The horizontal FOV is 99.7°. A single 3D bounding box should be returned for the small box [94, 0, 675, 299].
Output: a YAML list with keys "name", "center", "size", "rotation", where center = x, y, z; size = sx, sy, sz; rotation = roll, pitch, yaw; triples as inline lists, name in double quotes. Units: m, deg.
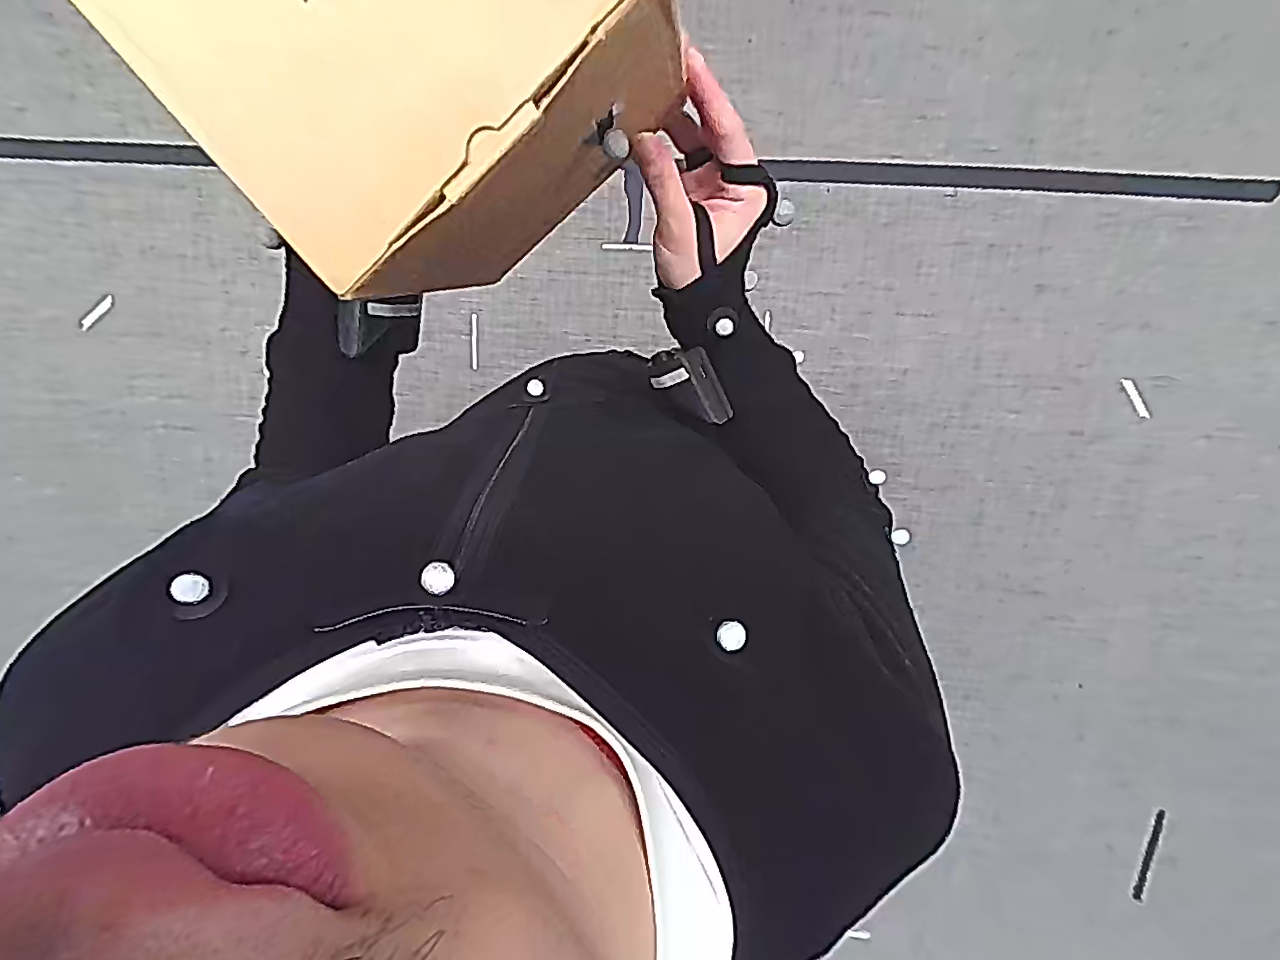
- name: "small box"
  center: [-0.096, -0.213, 0.255]
  size: [0.168, 0.176, 0.179]
  rotation: [-36, 103, 18]
